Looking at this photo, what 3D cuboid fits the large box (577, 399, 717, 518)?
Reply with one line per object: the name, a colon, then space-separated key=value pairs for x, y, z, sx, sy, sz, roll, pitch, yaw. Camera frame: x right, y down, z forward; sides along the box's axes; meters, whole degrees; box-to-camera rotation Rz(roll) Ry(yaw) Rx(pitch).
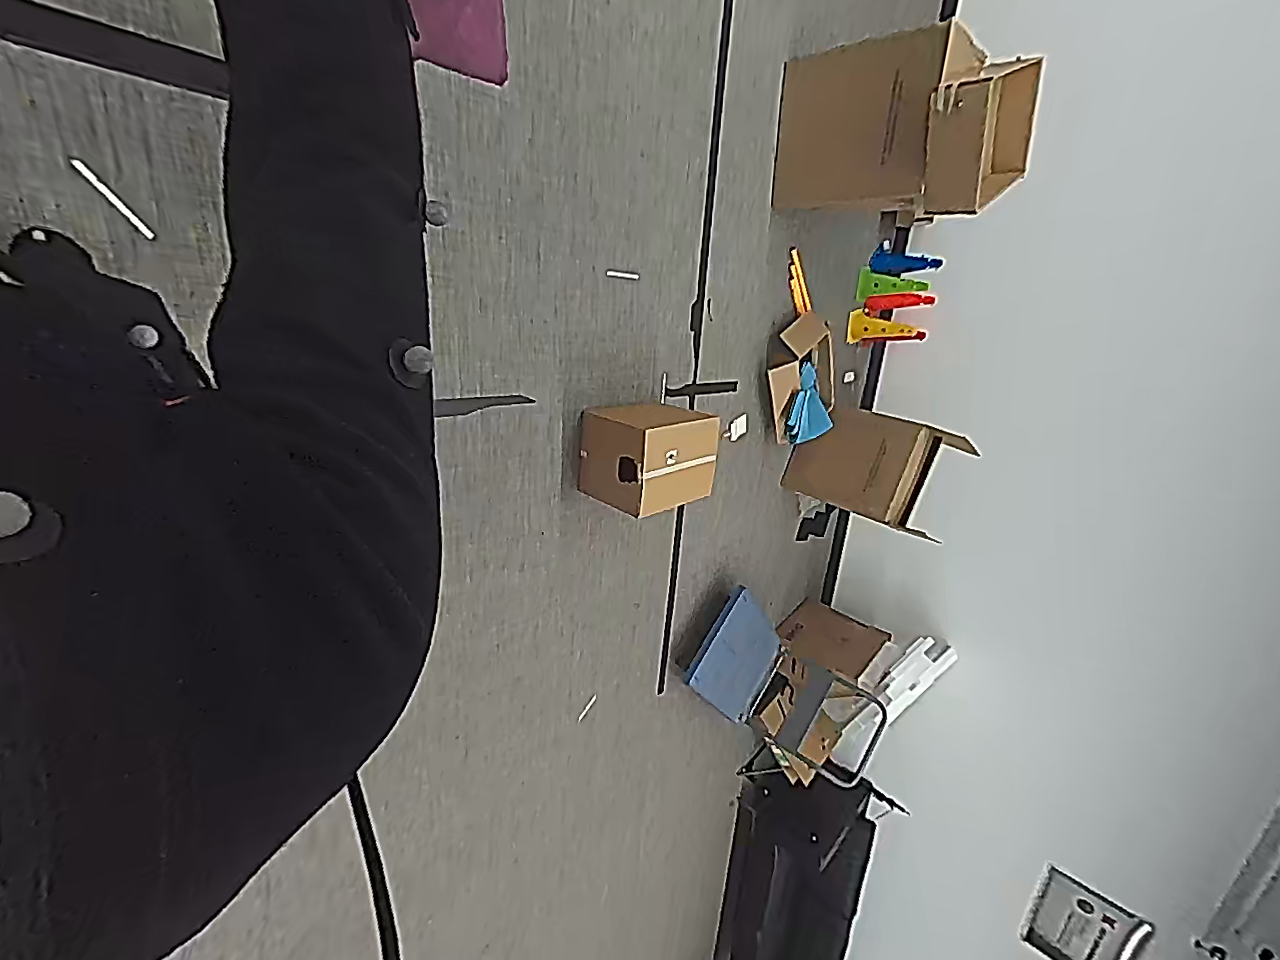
large box: x=0.025 y=-0.098 z=1.974 sx=0.408 sy=0.320 sz=0.320 roll=-15 pitch=117 yaw=-44
